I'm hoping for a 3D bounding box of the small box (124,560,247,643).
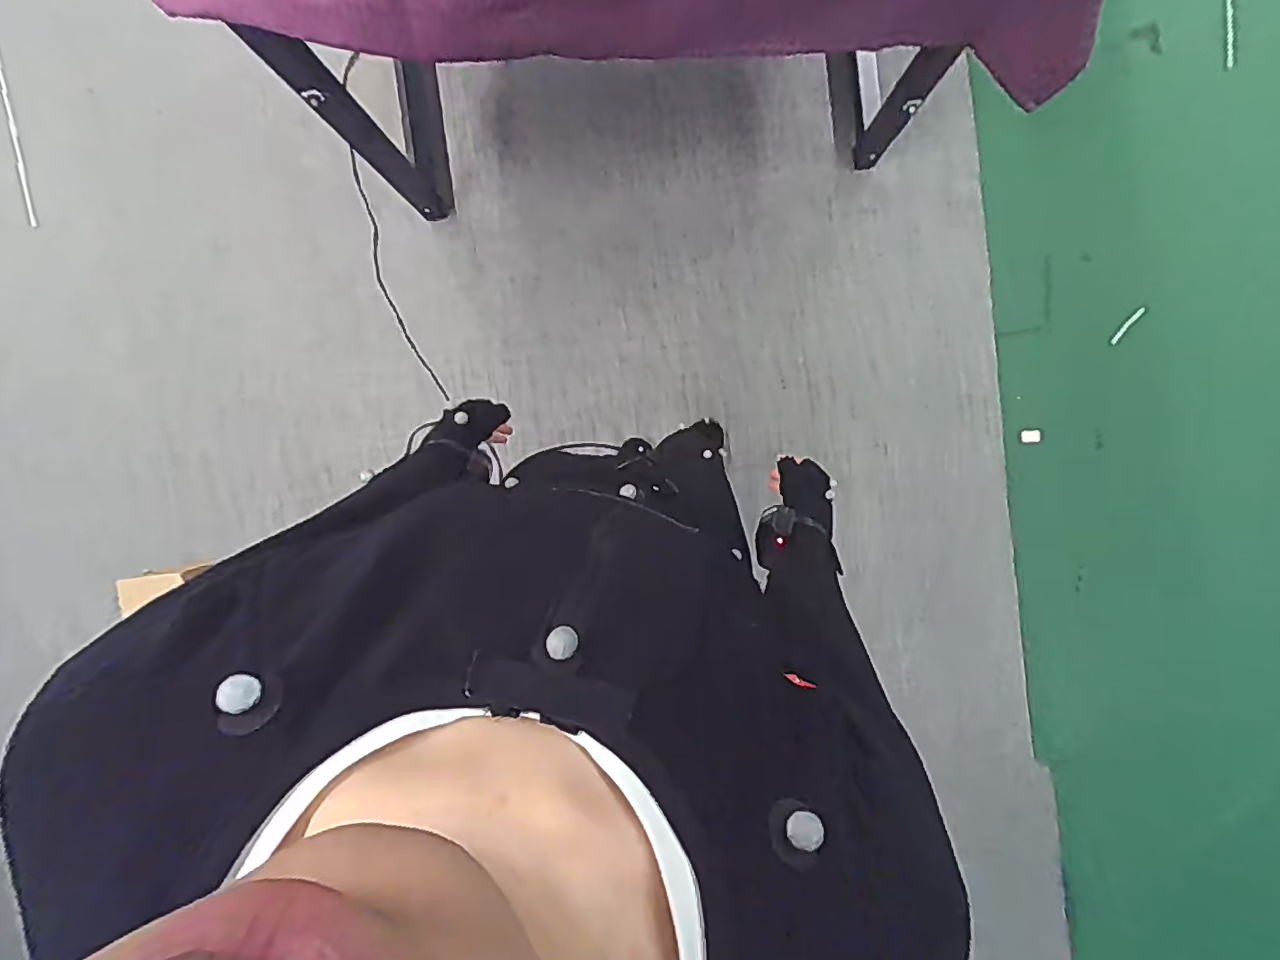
[{"bbox_3d":[-1.206,0.319,1.444,0.179,0.176,0.168,-7,94,2],"label":"small box"}]
